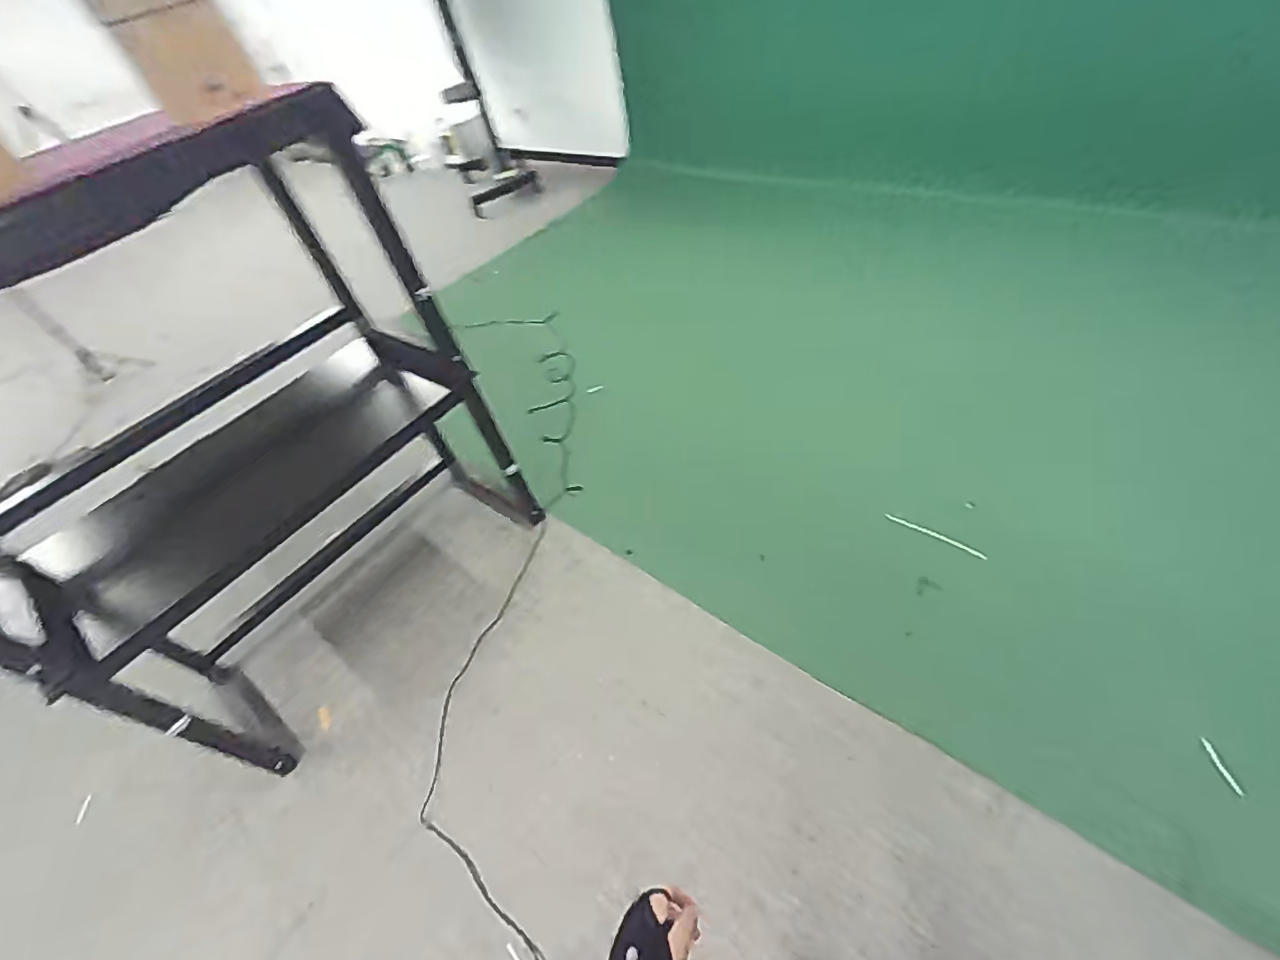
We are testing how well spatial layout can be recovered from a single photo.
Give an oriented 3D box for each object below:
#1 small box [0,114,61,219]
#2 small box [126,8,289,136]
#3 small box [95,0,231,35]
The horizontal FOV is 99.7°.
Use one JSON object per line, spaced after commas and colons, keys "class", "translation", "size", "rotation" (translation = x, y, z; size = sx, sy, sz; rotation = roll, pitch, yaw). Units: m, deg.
{"class": "small box", "translation": [-1.120, -0.531, 0.890], "size": [0.168, 0.176, 0.179], "rotation": [26, 60, 34]}
{"class": "small box", "translation": [-0.860, -0.814, 1.086], "size": [0.179, 0.176, 0.168], "rotation": [27, 60, 32]}
{"class": "small box", "translation": [-0.888, -0.916, 0.959], "size": [0.168, 0.176, 0.179], "rotation": [27, 60, 31]}
